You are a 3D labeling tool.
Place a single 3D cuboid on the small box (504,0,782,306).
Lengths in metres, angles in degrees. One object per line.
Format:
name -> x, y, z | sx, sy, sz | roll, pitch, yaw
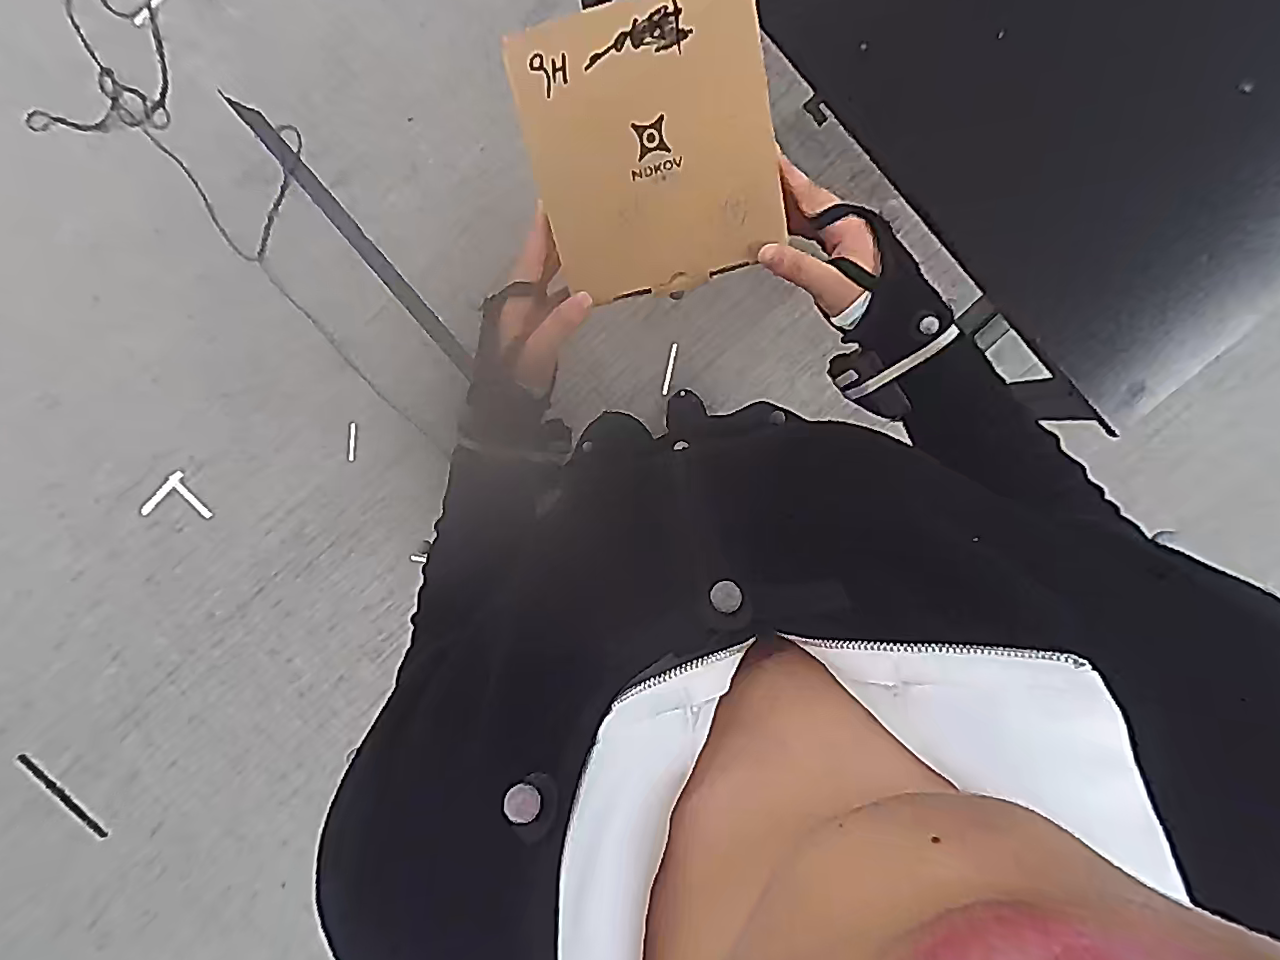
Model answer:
small box -> 0.010, -0.262, 0.453 | 0.168, 0.176, 0.179 | -13, 113, 6
